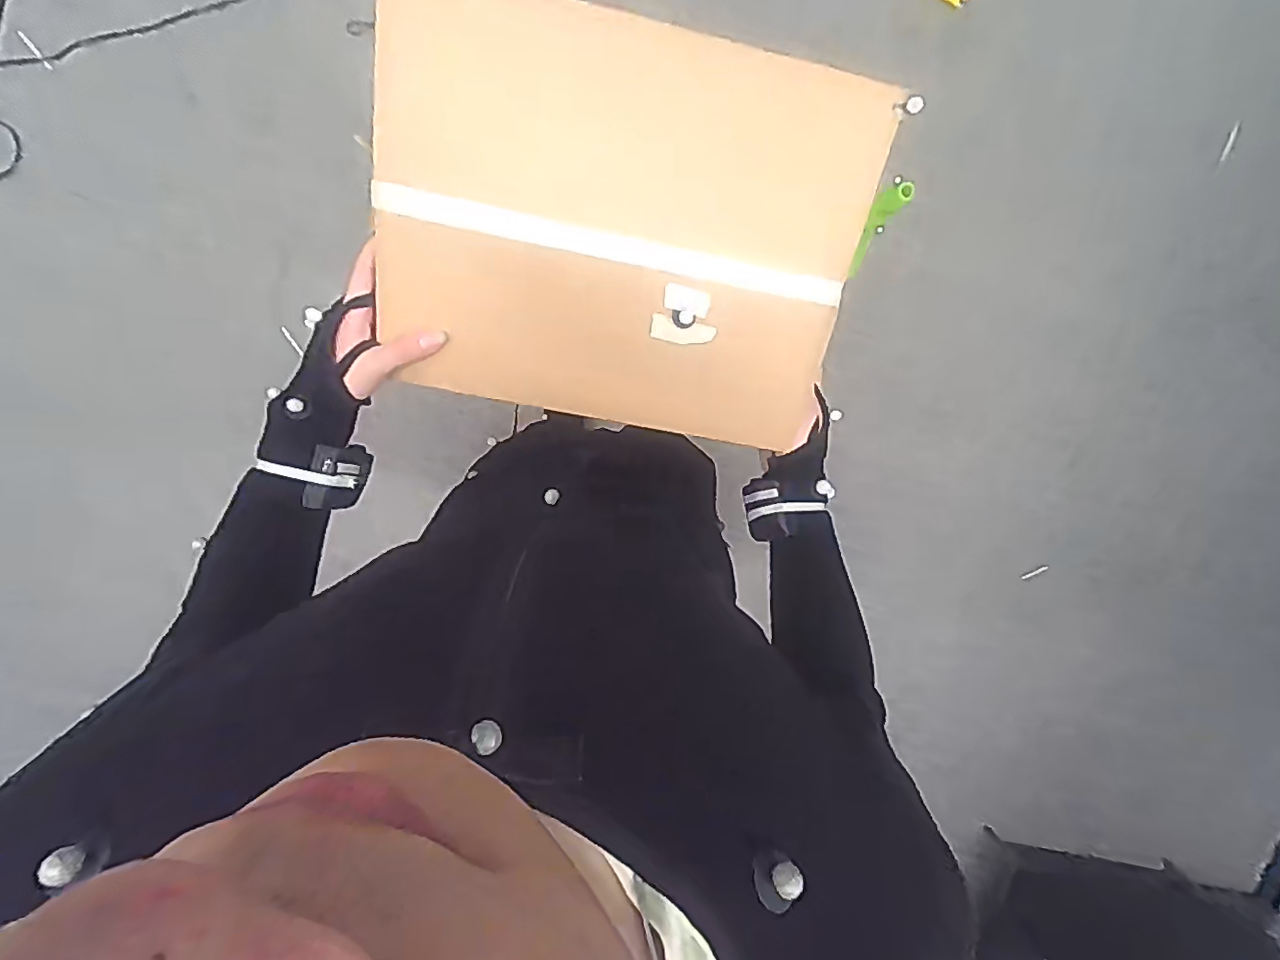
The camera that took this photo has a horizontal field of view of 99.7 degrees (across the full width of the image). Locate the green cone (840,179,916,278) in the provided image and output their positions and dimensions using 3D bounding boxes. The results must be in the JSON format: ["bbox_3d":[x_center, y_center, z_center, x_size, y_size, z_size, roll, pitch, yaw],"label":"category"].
[{"bbox_3d":[0.587,-0.682,1.392,0.200,0.368,0.202,21,97,-9],"label":"green cone"}]

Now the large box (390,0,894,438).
[{"bbox_3d":[-0.023,-0.267,0.609,0.408,0.320,0.320,9,114,-7],"label":"large box"}]
